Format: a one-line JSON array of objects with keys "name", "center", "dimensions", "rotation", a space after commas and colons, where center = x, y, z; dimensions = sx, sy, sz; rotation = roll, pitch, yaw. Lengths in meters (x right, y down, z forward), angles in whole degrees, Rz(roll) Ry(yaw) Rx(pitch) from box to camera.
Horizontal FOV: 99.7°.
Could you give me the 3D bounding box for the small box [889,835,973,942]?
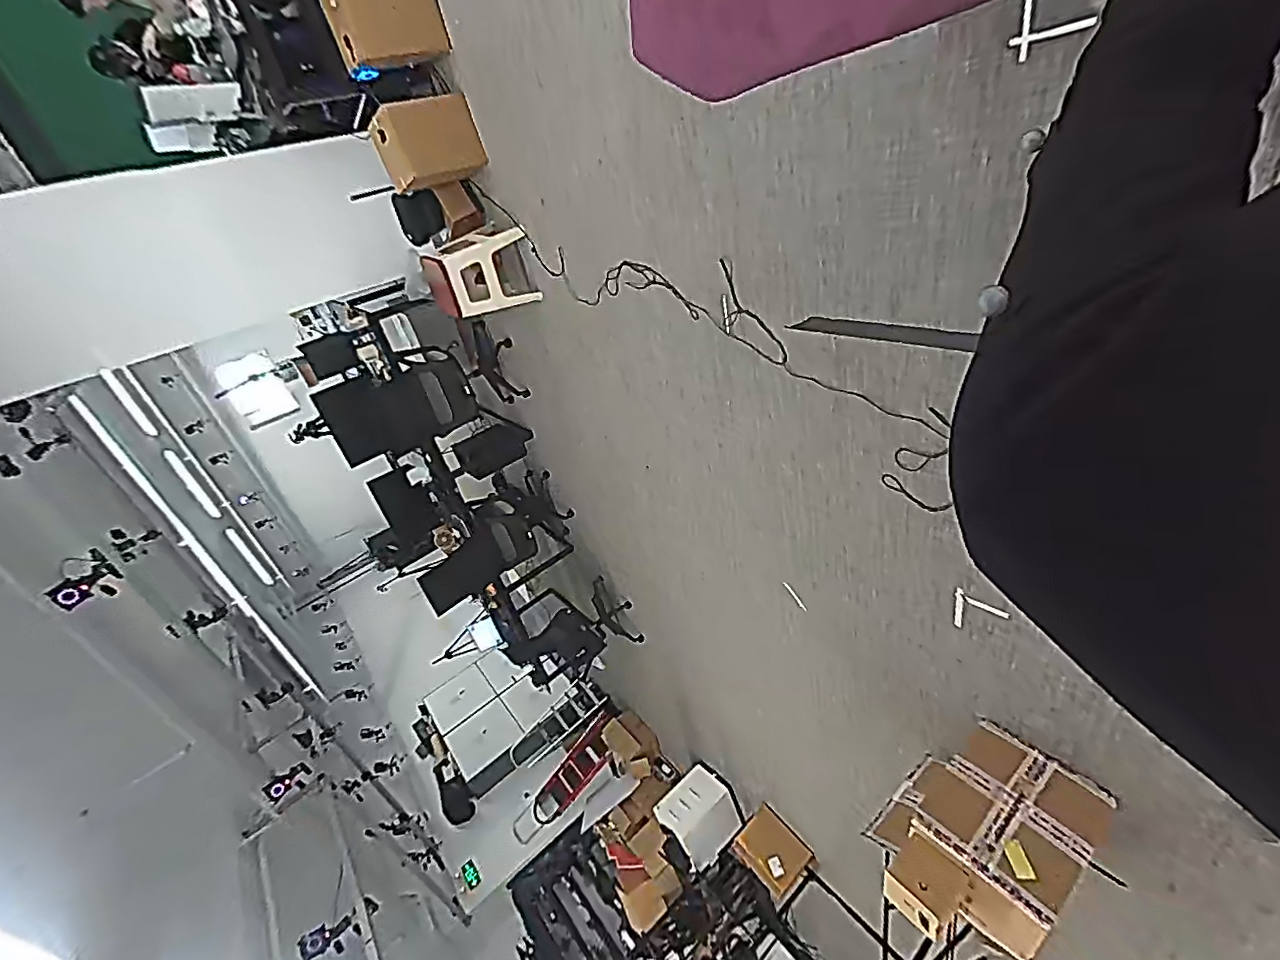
[{"name": "small box", "center": [0.908, 1.269, 1.689], "dimensions": [0.179, 0.176, 0.168], "rotation": [28, 139, 49]}]
